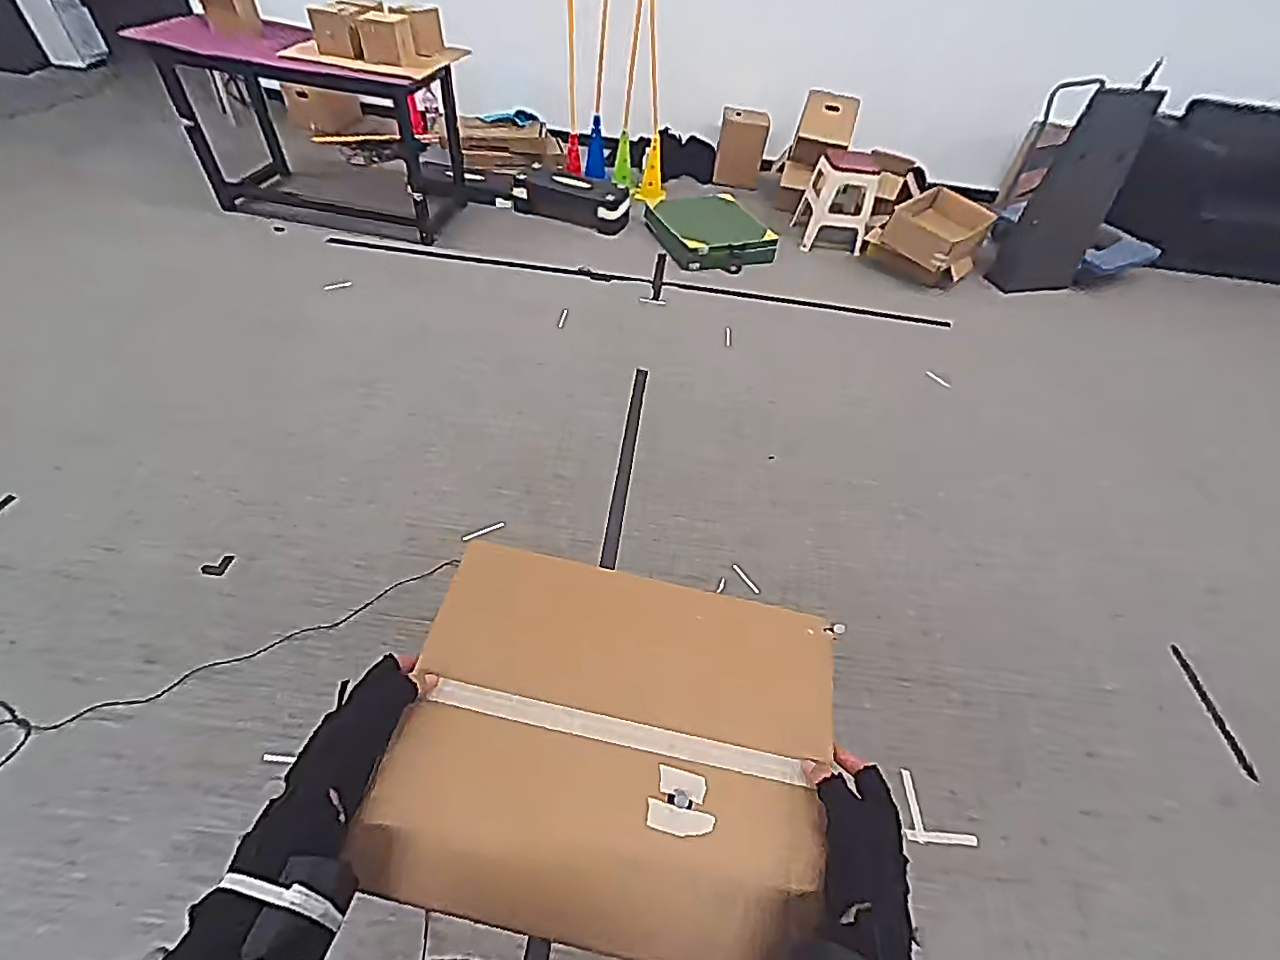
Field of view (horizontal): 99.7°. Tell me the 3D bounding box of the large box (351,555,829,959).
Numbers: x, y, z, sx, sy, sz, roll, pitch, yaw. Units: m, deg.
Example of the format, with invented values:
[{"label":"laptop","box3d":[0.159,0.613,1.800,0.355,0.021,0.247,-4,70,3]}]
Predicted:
[{"label":"large box","box3d":[-0.033,0.326,0.639,0.408,0.320,0.320,13,57,1]}]
